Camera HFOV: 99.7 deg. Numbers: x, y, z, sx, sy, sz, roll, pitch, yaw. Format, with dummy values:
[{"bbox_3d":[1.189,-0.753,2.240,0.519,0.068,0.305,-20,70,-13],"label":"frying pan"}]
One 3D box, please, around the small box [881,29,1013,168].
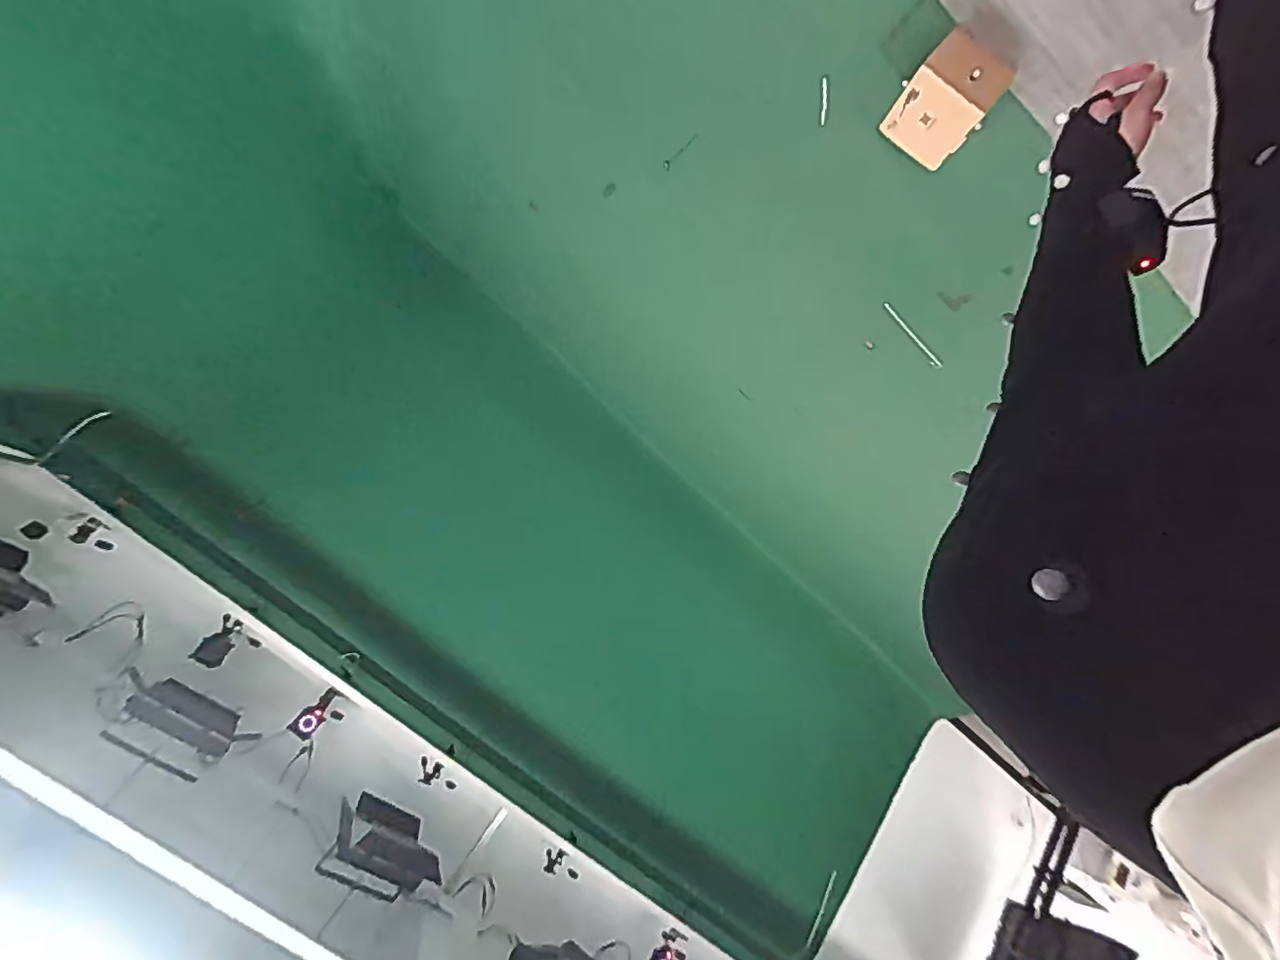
[{"bbox_3d":[0.710,-0.882,1.251,0.179,0.176,0.168,38,163,0],"label":"small box"}]
